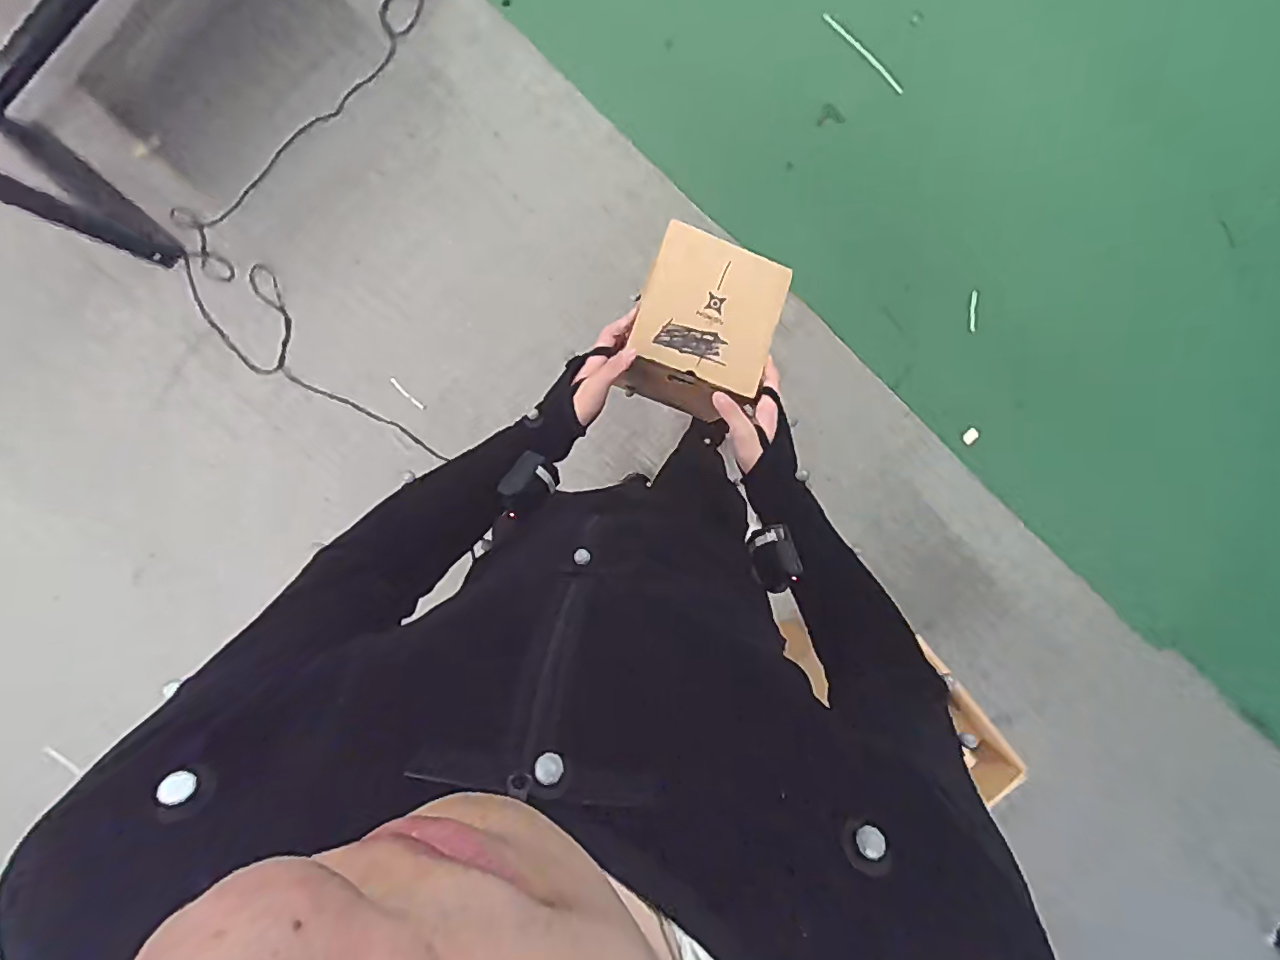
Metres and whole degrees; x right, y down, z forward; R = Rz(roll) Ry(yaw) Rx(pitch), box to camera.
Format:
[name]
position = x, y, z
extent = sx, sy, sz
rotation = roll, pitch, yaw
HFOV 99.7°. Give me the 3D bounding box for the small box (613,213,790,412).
[small box]
position = 0.068, -0.203, 0.716
extent = 0.168, 0.176, 0.179
rotation = 18, 84, -9
